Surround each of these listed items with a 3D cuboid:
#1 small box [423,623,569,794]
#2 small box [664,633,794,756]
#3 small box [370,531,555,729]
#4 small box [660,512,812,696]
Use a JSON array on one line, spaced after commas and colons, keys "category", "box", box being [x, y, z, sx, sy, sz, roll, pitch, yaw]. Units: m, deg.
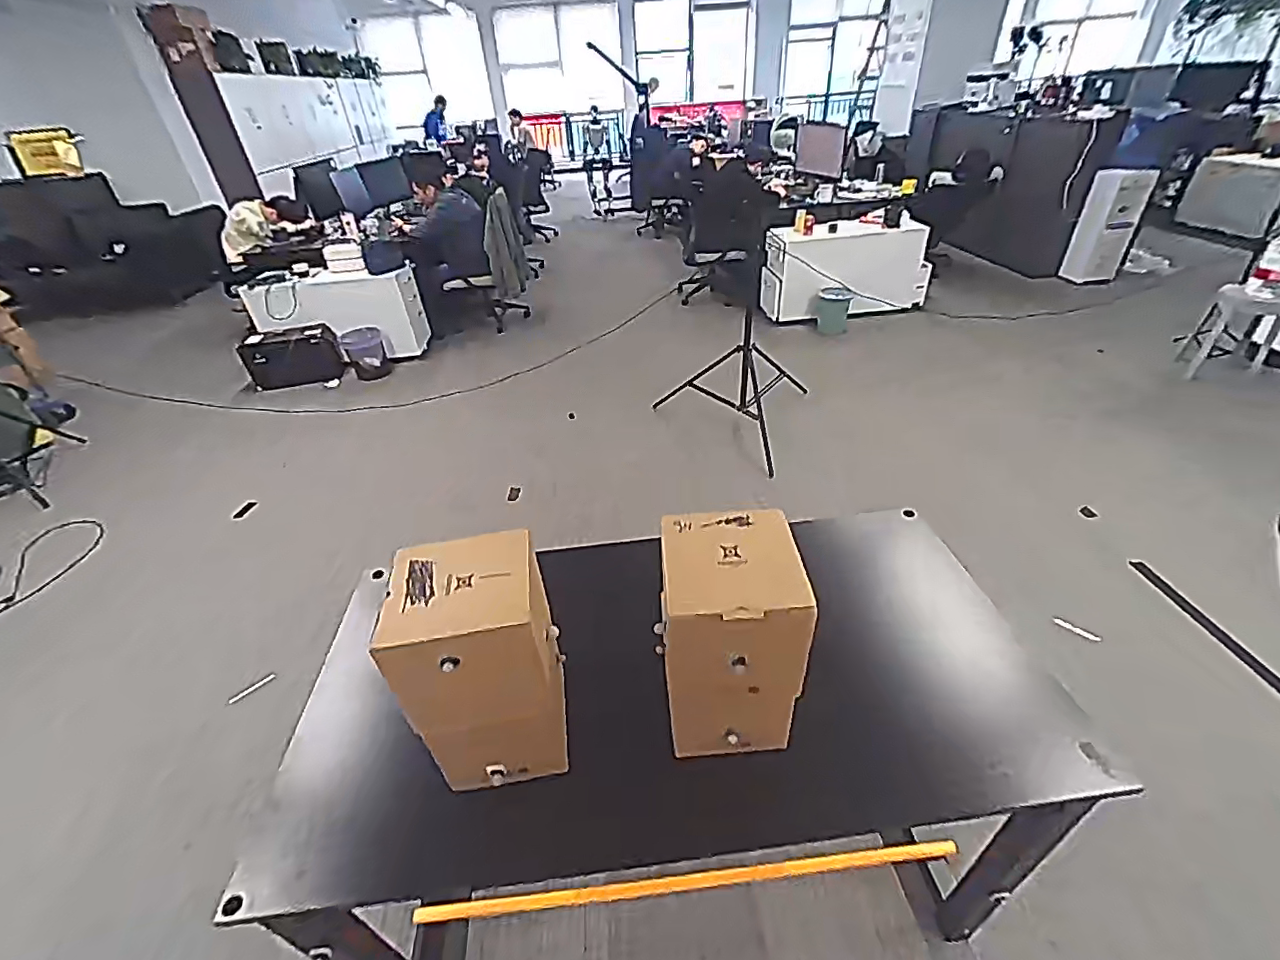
[{"category": "small box", "box": [-0.202, 0.324, 0.799, 0.168, 0.176, 0.179, -10, 37, -5]}, {"category": "small box", "box": [0.122, 0.285, 0.815, 0.168, 0.176, 0.179, -5, 36, 0]}, {"category": "small box", "box": [-0.214, 0.194, 0.699, 0.179, 0.176, 0.168, -9, 36, -6]}, {"category": "small box", "box": [0.114, 0.164, 0.704, 0.168, 0.176, 0.179, -3, 37, 2]}]
